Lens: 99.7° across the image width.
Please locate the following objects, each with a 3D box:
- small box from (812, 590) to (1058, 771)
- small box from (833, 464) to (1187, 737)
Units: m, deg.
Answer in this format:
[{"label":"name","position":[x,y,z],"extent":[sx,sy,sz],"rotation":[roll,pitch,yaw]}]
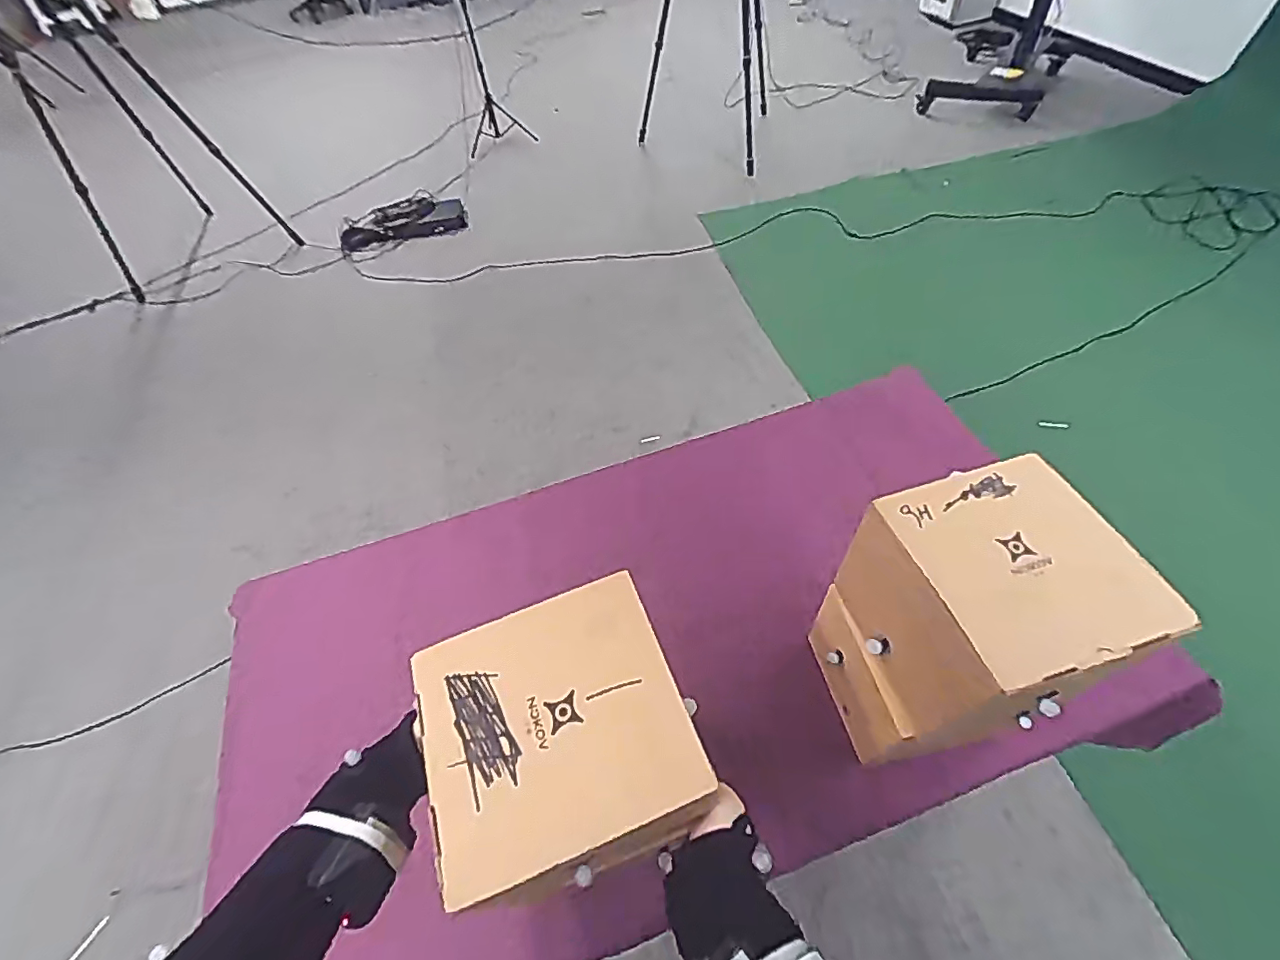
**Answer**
[{"label":"small box","position":[0.313,0.219,0.626],"extent":[0.179,0.176,0.168],"rotation":[-12,53,-4]},{"label":"small box","position":[0.303,0.118,0.496],"extent":[0.168,0.176,0.179],"rotation":[-15,54,-6]}]
